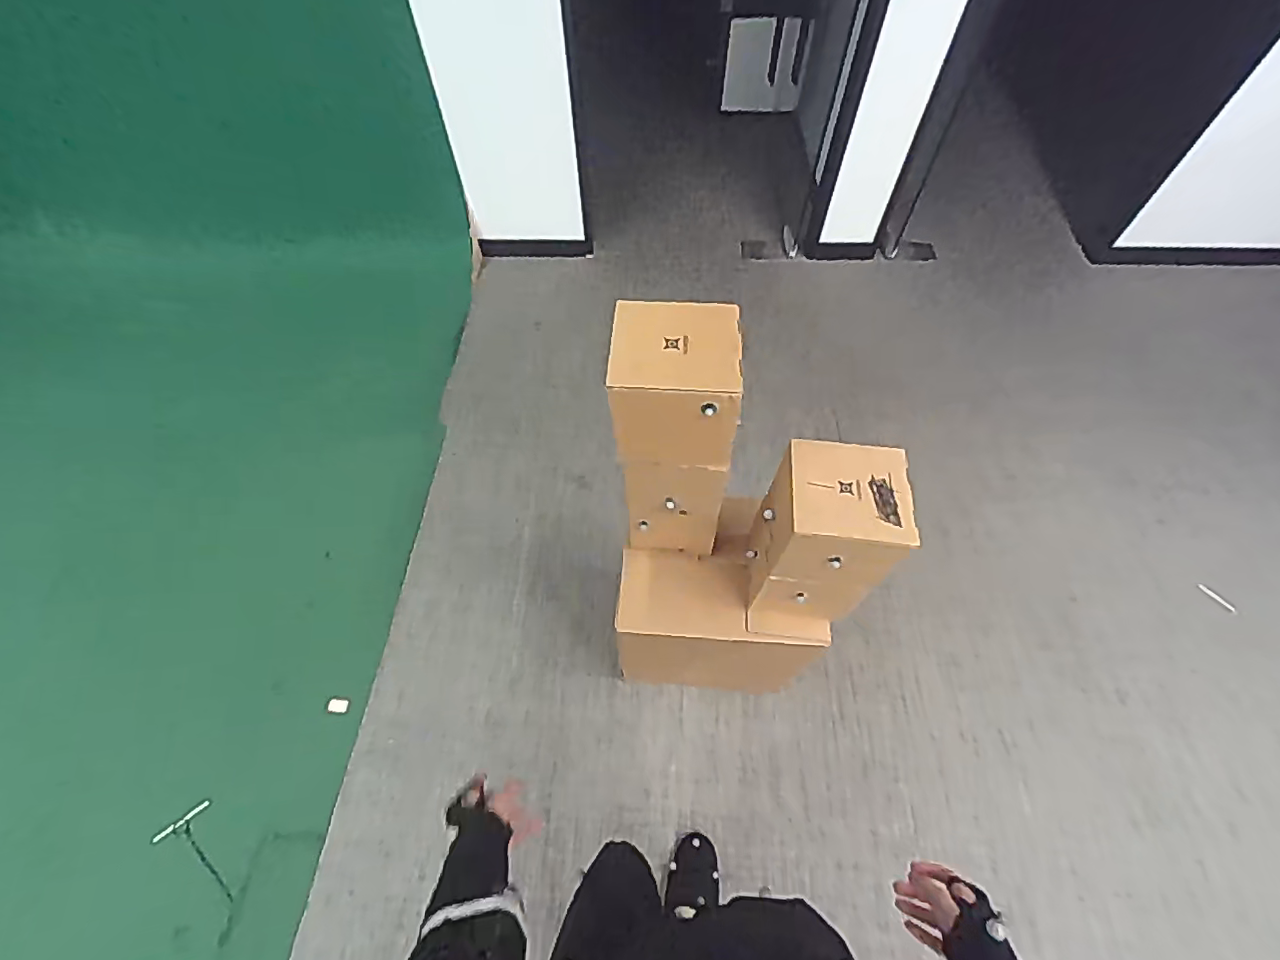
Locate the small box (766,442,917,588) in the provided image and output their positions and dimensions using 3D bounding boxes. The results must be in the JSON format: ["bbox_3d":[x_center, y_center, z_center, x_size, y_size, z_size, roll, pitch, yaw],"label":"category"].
[{"bbox_3d":[0.306,0.062,0.857,0.179,0.176,0.168,6,58,4],"label":"small box"}]

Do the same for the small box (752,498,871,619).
[{"bbox_3d":[0.303,0.149,0.996,0.179,0.176,0.168,5,60,4],"label":"small box"}]

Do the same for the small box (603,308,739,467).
[{"bbox_3d":[0.047,-0.131,0.794,0.179,0.176,0.168,2,58,3],"label":"small box"}]

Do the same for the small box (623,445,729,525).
[{"bbox_3d":[0.065,-0.046,0.932,0.168,0.176,0.179,7,58,6],"label":"small box"}]
